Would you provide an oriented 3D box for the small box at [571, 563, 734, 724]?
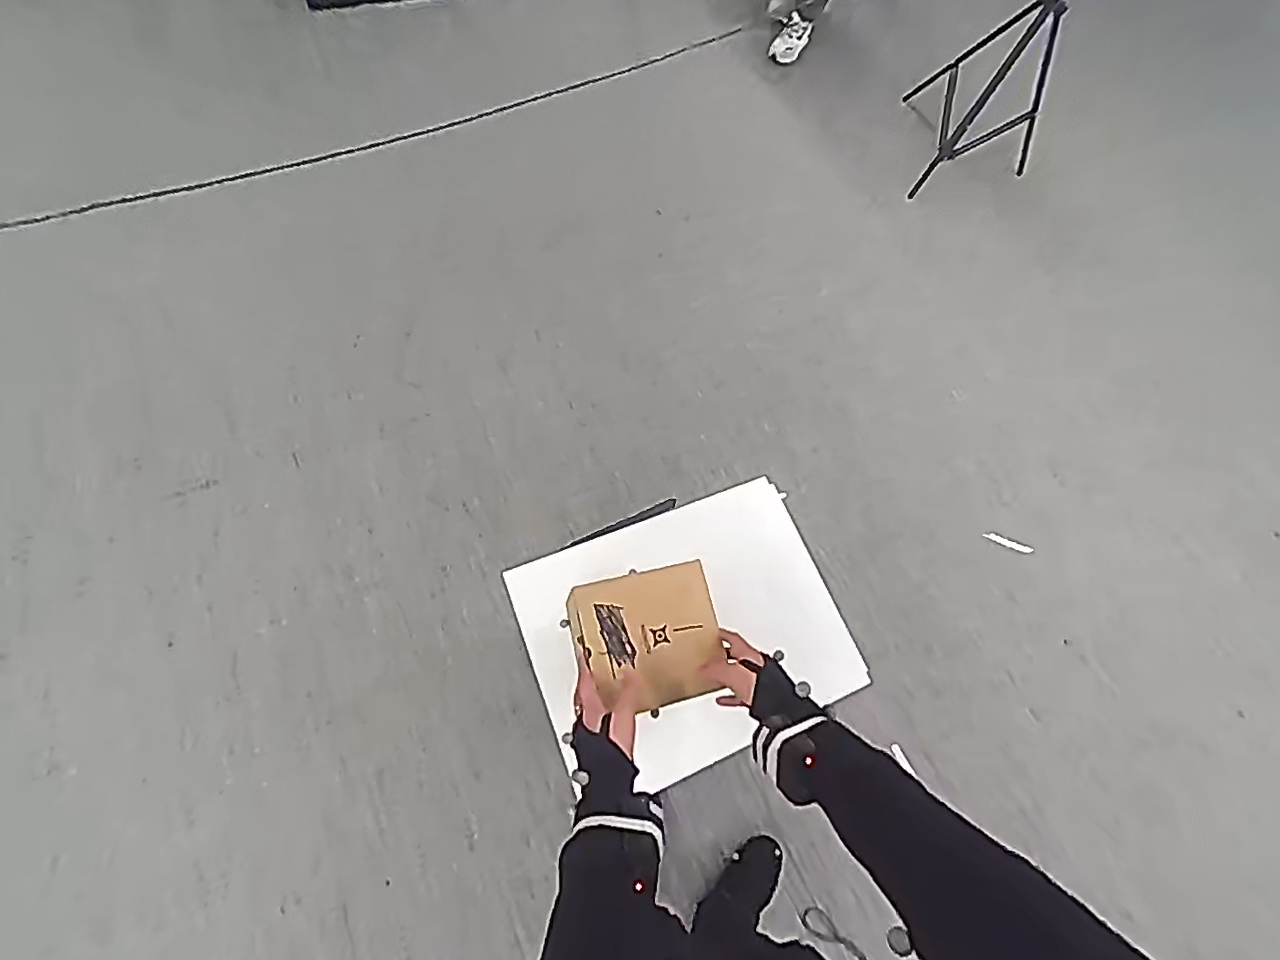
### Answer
[{"bbox_3d":[0.003,0.225,0.744,0.179,0.176,0.168,-10,73,-15],"label":"small box"}]
